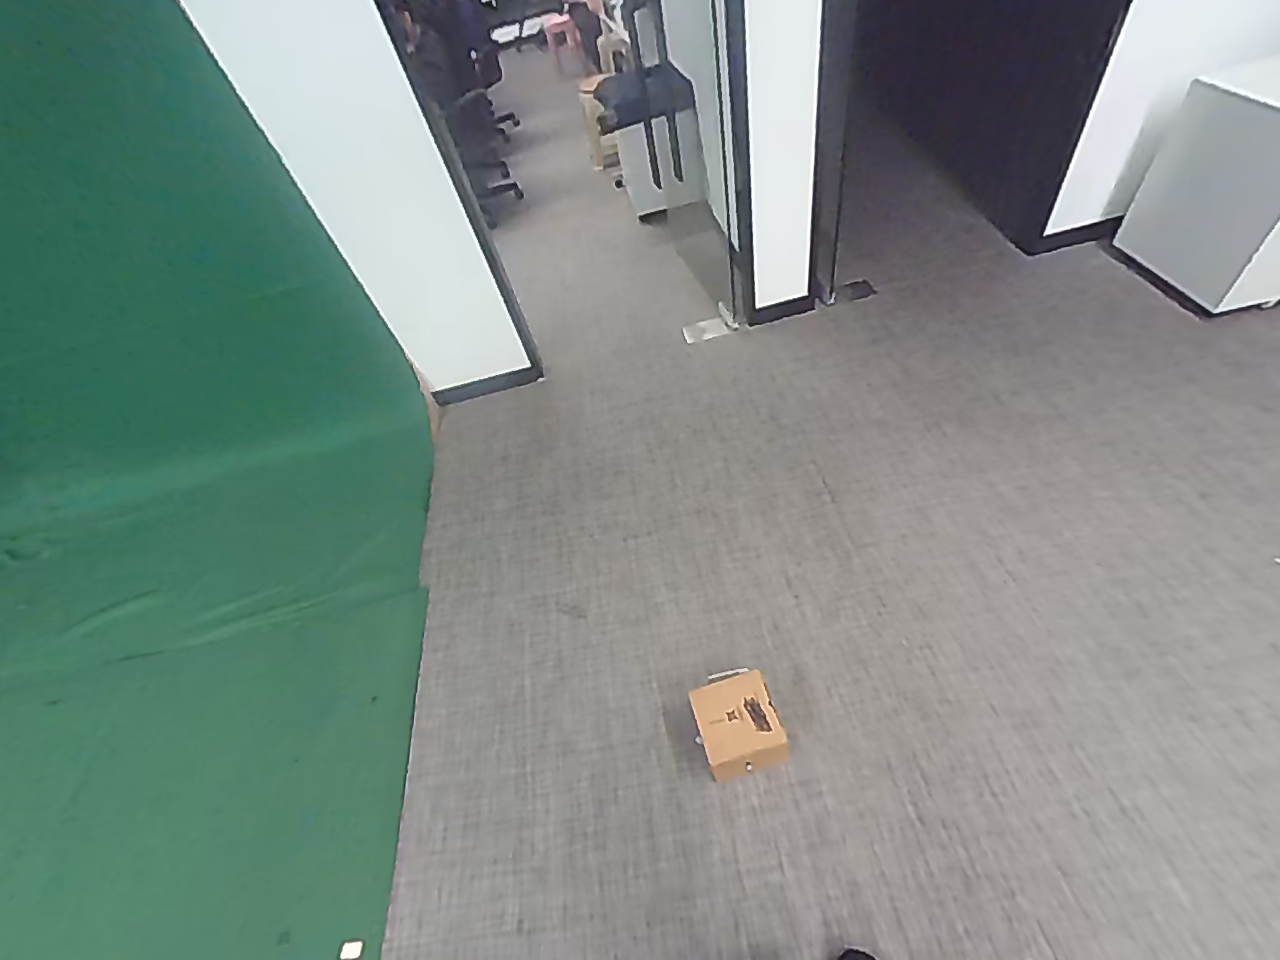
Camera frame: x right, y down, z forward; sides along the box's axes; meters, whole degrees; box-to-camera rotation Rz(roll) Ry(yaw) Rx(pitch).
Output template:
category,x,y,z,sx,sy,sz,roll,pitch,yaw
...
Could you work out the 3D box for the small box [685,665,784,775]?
category,x,y,z,sx,sy,sz,roll,pitch,yaw
small box,0.220,0.567,1.271,0.179,0.176,0.168,-20,49,-4
